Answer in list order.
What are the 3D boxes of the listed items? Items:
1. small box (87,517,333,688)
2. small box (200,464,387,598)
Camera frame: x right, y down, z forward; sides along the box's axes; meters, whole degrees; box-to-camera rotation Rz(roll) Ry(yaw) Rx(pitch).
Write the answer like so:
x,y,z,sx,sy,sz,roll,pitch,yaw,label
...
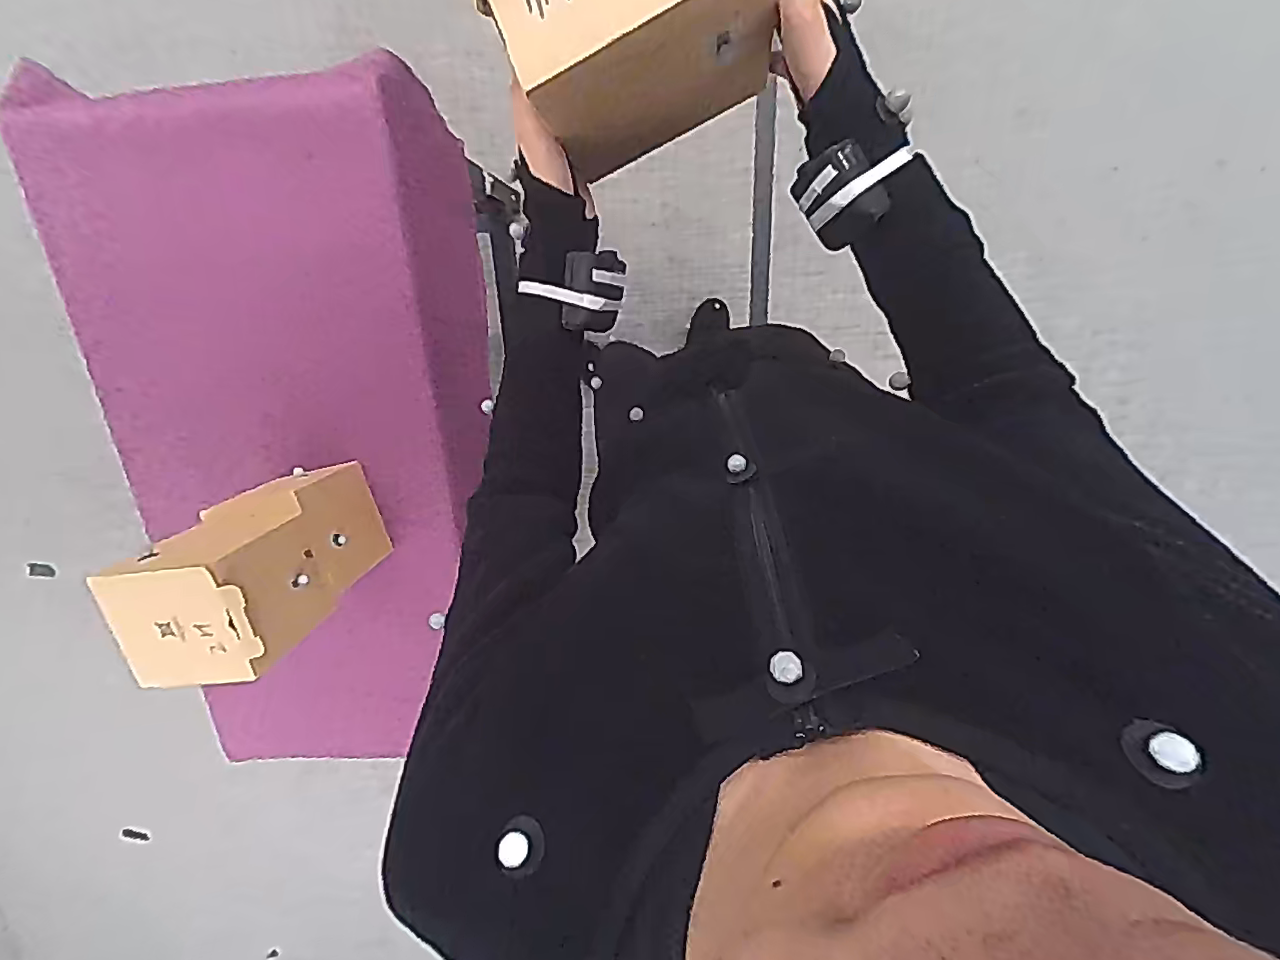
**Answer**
x,y,z,sx,sy,sz,roll,pitch,yaw,label
-0.573,0.161,0.747,0.179,0.176,0.168,-7,108,7,small box
-0.555,0.090,0.896,0.168,0.176,0.179,-12,106,8,small box
